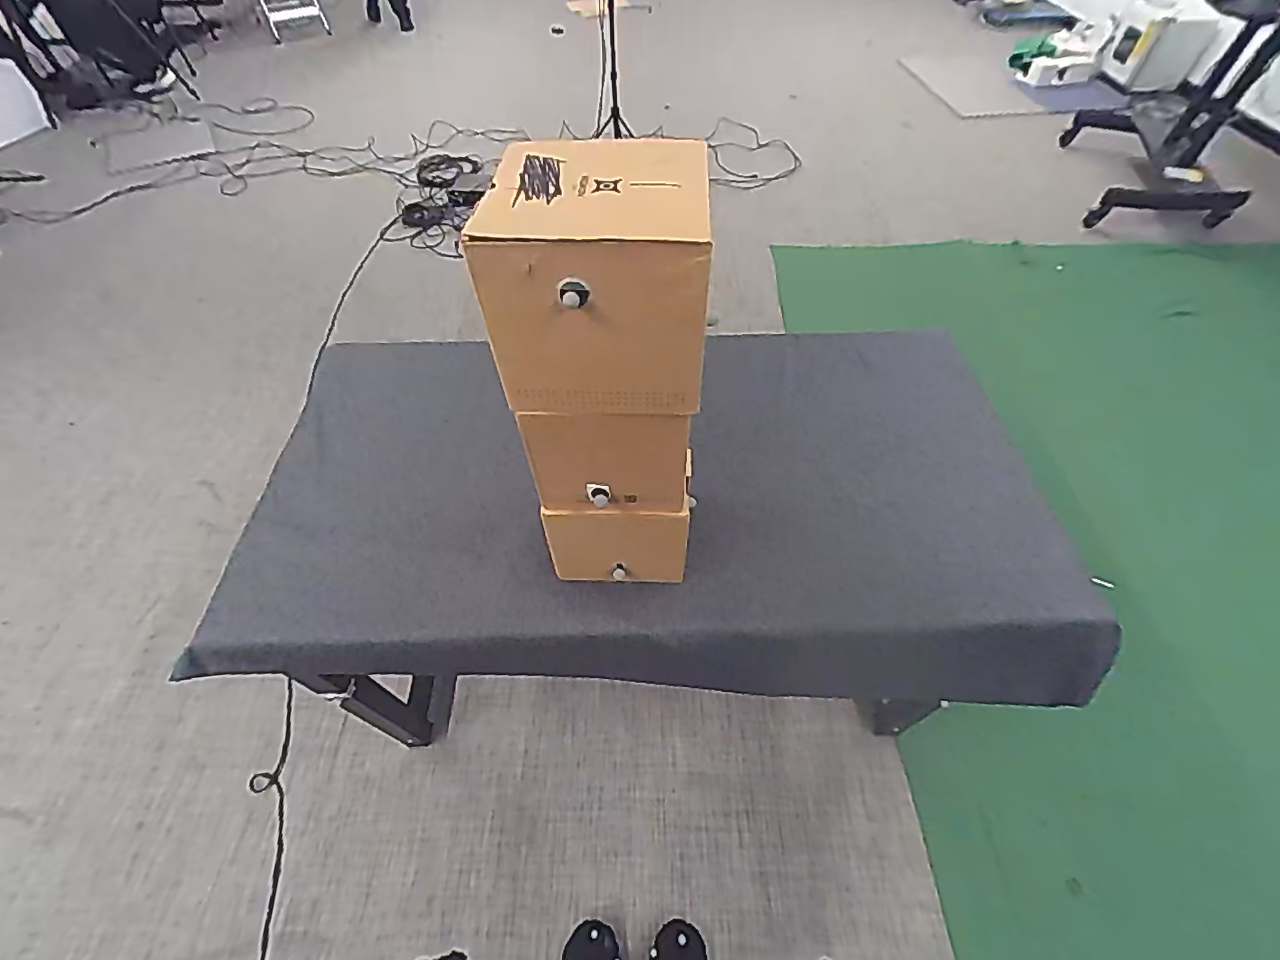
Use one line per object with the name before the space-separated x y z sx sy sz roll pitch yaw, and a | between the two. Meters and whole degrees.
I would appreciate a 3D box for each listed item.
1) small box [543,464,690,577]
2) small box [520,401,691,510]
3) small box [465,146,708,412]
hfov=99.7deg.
small box | -0.027 0.023 0.747 0.179 0.176 0.168 1 52 1
small box | -0.030 -0.083 0.624 0.168 0.176 0.179 -1 54 2
small box | -0.032 -0.177 0.489 0.179 0.176 0.168 2 53 3
